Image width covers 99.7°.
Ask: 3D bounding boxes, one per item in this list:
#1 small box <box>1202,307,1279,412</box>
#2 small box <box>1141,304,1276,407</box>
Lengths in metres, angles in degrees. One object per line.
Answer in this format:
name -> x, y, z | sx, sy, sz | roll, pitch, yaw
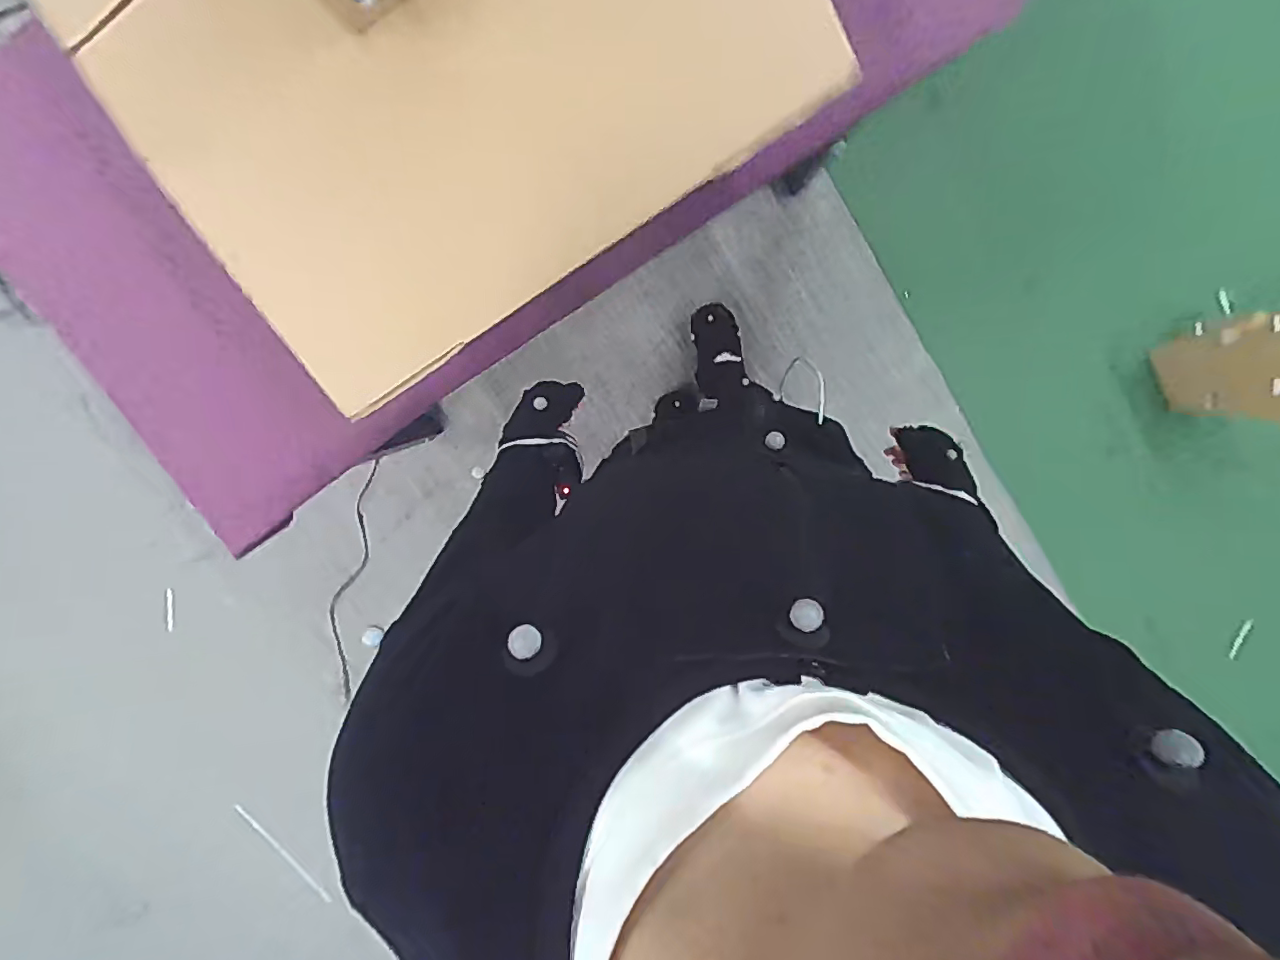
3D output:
small box -> 1.365, -0.258, 1.138 | 0.168, 0.176, 0.179 | -31, 100, 8
small box -> 1.375, -0.298, 1.296 | 0.168, 0.176, 0.179 | -32, 100, 8
